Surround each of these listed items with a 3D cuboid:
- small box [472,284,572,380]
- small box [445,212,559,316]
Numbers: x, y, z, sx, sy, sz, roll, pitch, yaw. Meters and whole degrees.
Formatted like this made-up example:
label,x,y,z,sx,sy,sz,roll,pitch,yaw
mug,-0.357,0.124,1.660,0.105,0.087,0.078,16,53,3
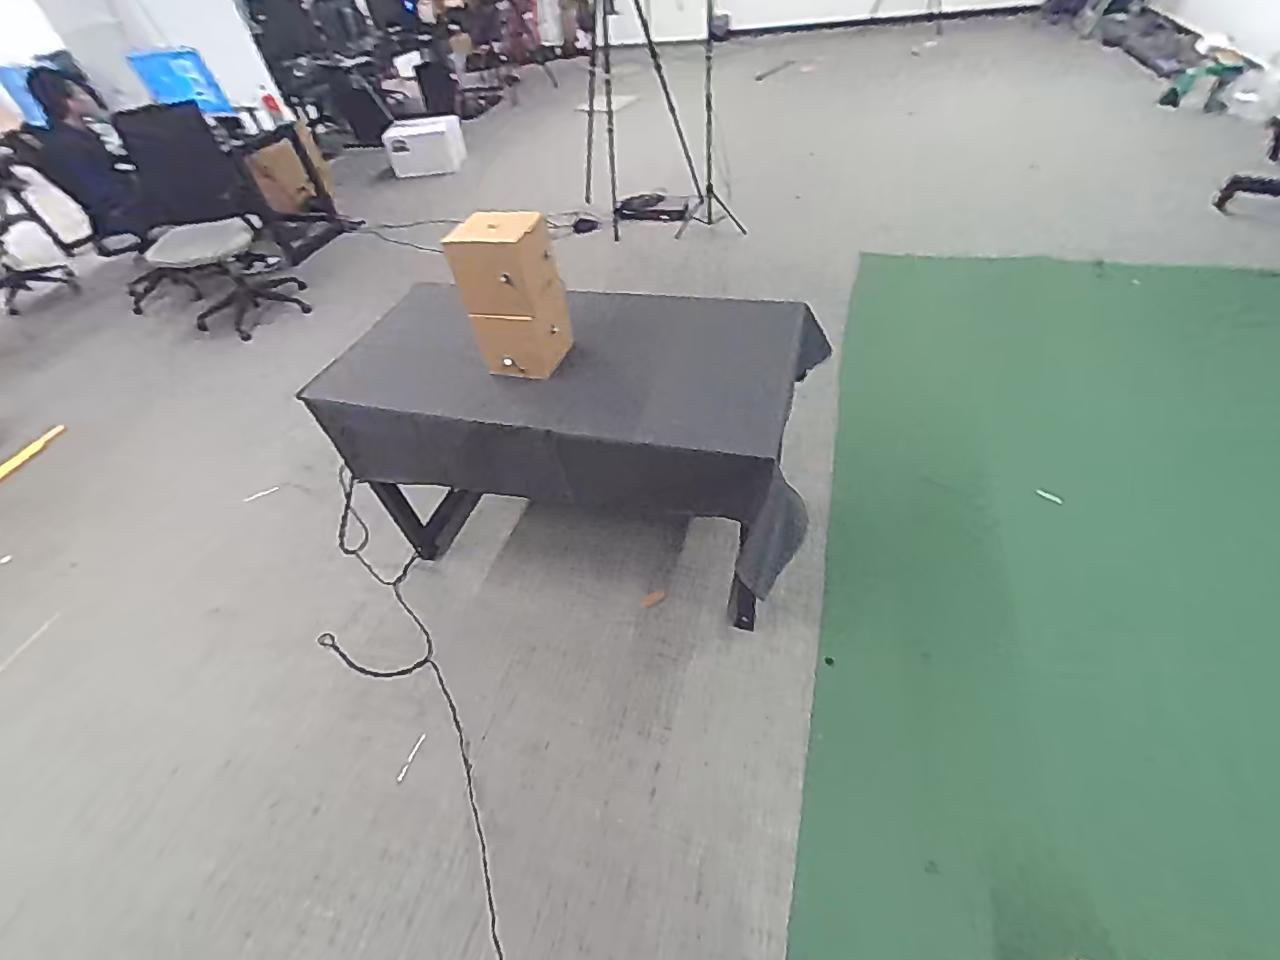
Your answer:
label,x,y,z,sx,sy,sz,roll,pitch,yaw
small box,-0.281,-0.371,1.337,0.168,0.176,0.179,9,49,17
small box,-0.300,-0.487,1.223,0.179,0.176,0.168,7,47,15
